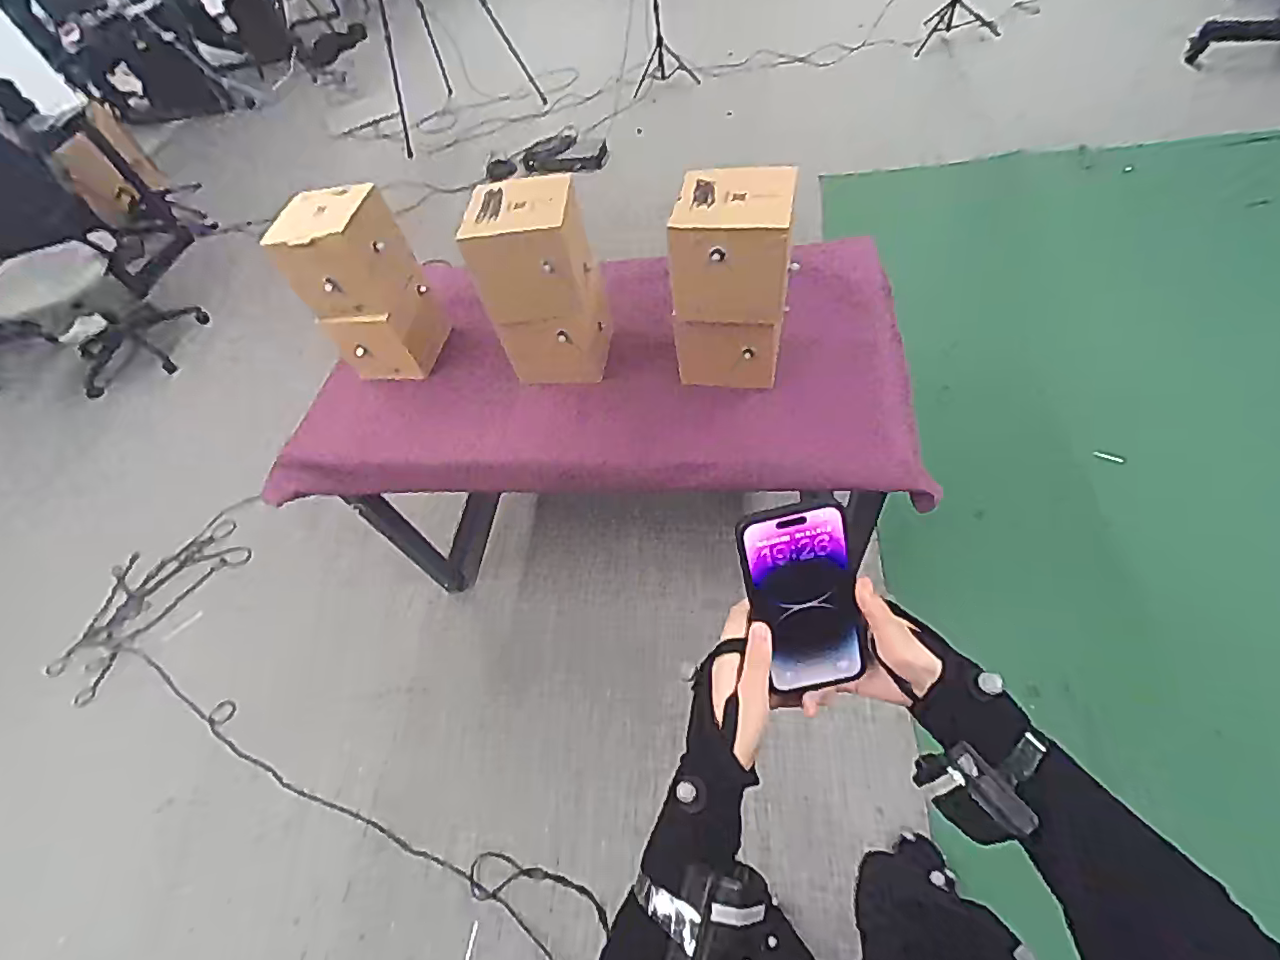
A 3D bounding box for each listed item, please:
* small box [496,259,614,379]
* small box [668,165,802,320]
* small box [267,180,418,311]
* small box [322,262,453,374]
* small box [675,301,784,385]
[{"bbox_3d":[-0.157,-0.317,1.082,0.179,0.176,0.168,2,56,12],"label":"small box"},{"bbox_3d":[0.154,-0.373,0.862,0.179,0.176,0.168,7,57,15],"label":"small box"},{"bbox_3d":[-0.560,-0.445,1.048,0.168,0.176,0.179,-2,56,9],"label":"small box"},{"bbox_3d":[-0.536,-0.346,1.176,0.168,0.176,0.179,2,56,12],"label":"small box"},{"bbox_3d":[0.174,-0.294,1.004,0.179,0.176,0.168,7,57,16],"label":"small box"}]
